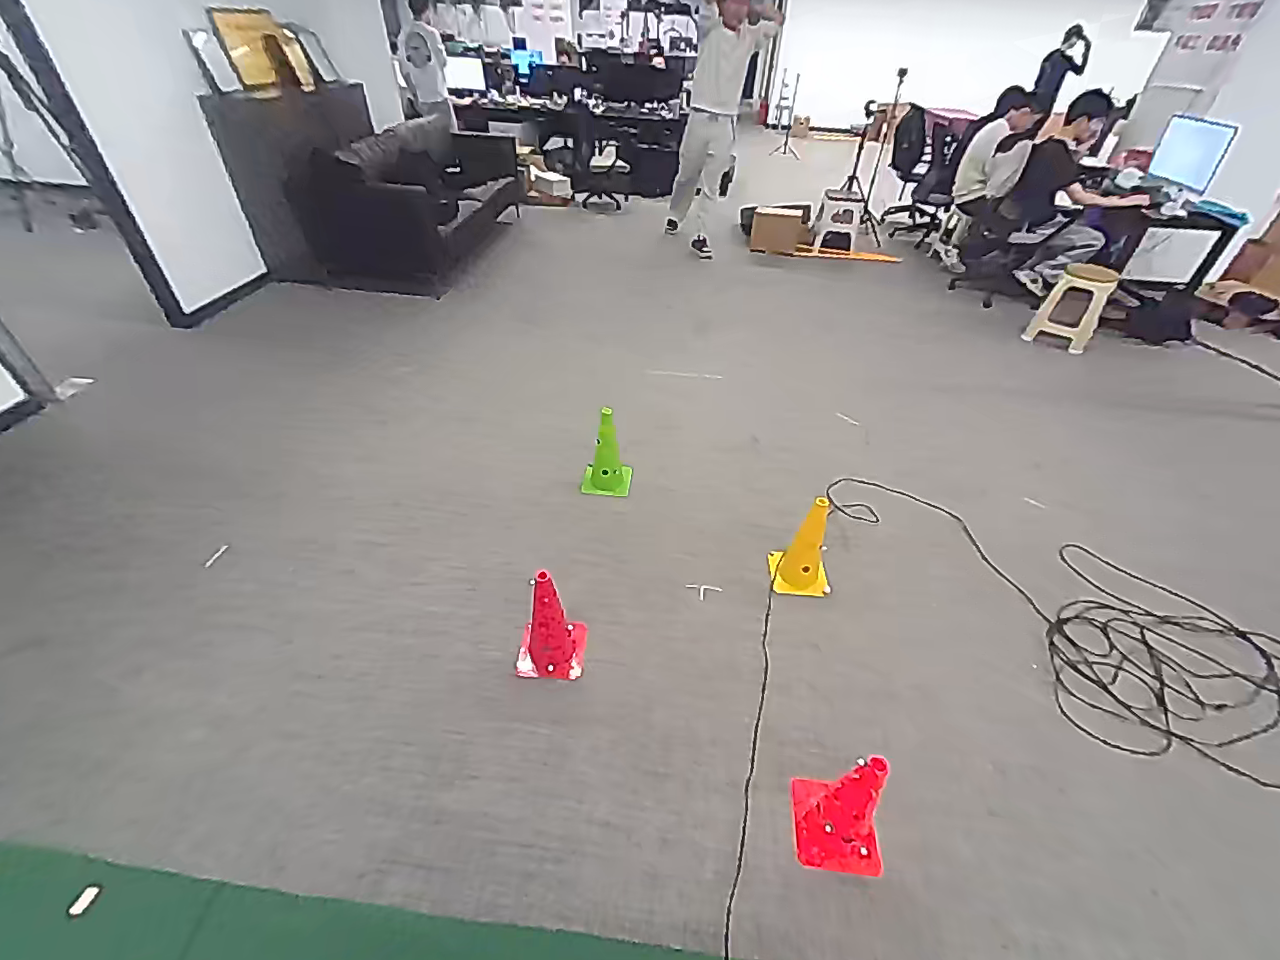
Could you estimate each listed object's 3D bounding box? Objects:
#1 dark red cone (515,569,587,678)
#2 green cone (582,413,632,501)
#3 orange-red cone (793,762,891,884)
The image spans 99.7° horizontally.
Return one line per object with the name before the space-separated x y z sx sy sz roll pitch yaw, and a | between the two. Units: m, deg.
dark red cone | -0.264 0.395 1.565 0.202 0.394 0.201 2 41 0
green cone | -0.133 -0.113 2.230 0.202 0.368 0.200 6 40 2
orange-red cone | 0.490 0.734 1.226 0.198 0.360 0.199 7 39 4
